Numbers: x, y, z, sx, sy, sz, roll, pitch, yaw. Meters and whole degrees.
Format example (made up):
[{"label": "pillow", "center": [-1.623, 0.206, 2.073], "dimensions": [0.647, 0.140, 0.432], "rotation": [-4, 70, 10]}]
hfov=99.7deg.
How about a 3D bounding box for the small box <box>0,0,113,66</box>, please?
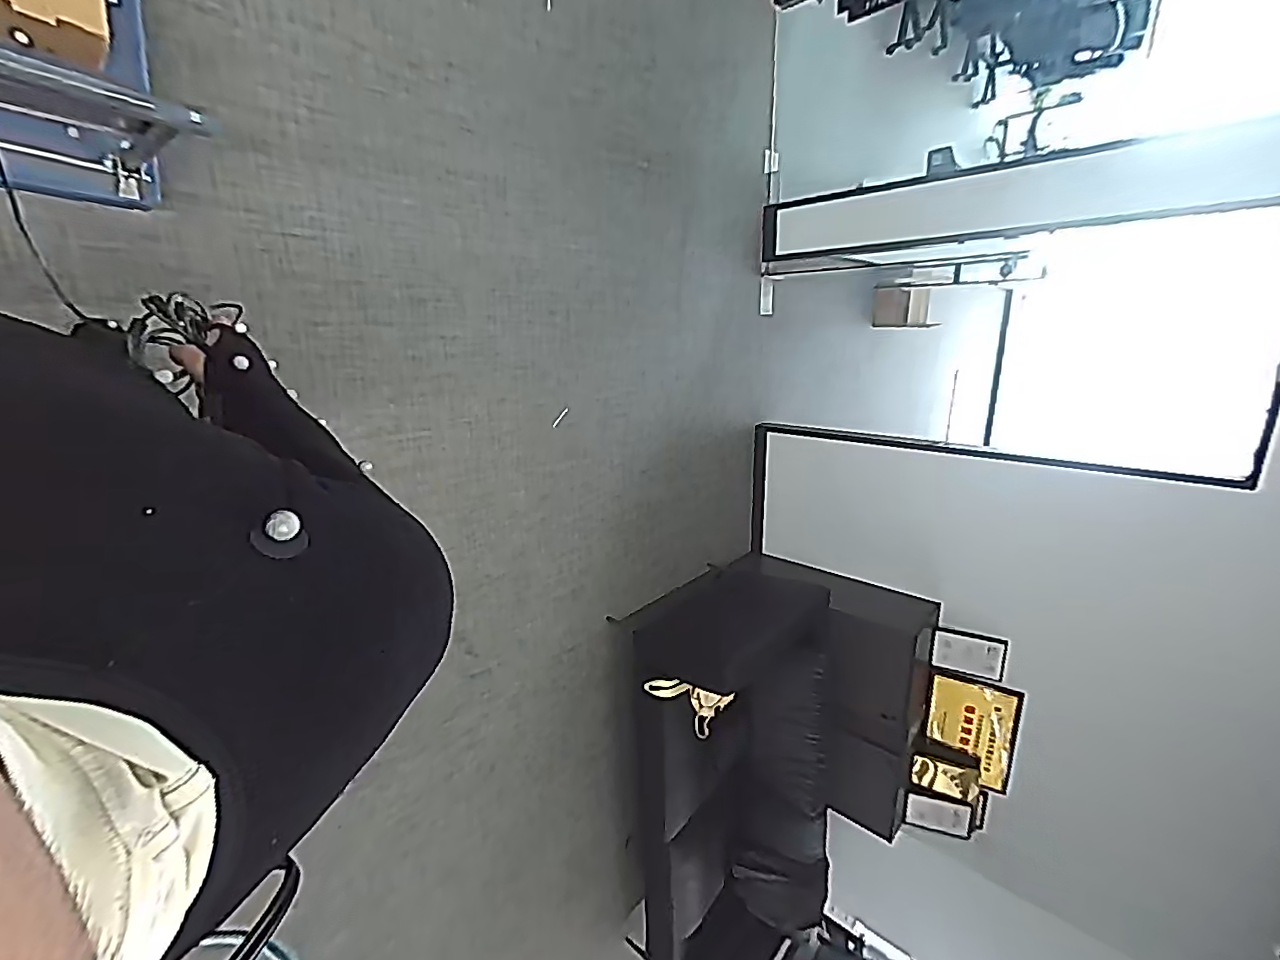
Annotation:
[{"label": "small box", "center": [-0.961, -0.806, 0.850], "dimensions": [0.168, 0.176, 0.179], "rotation": [-9, 108, -47]}]
